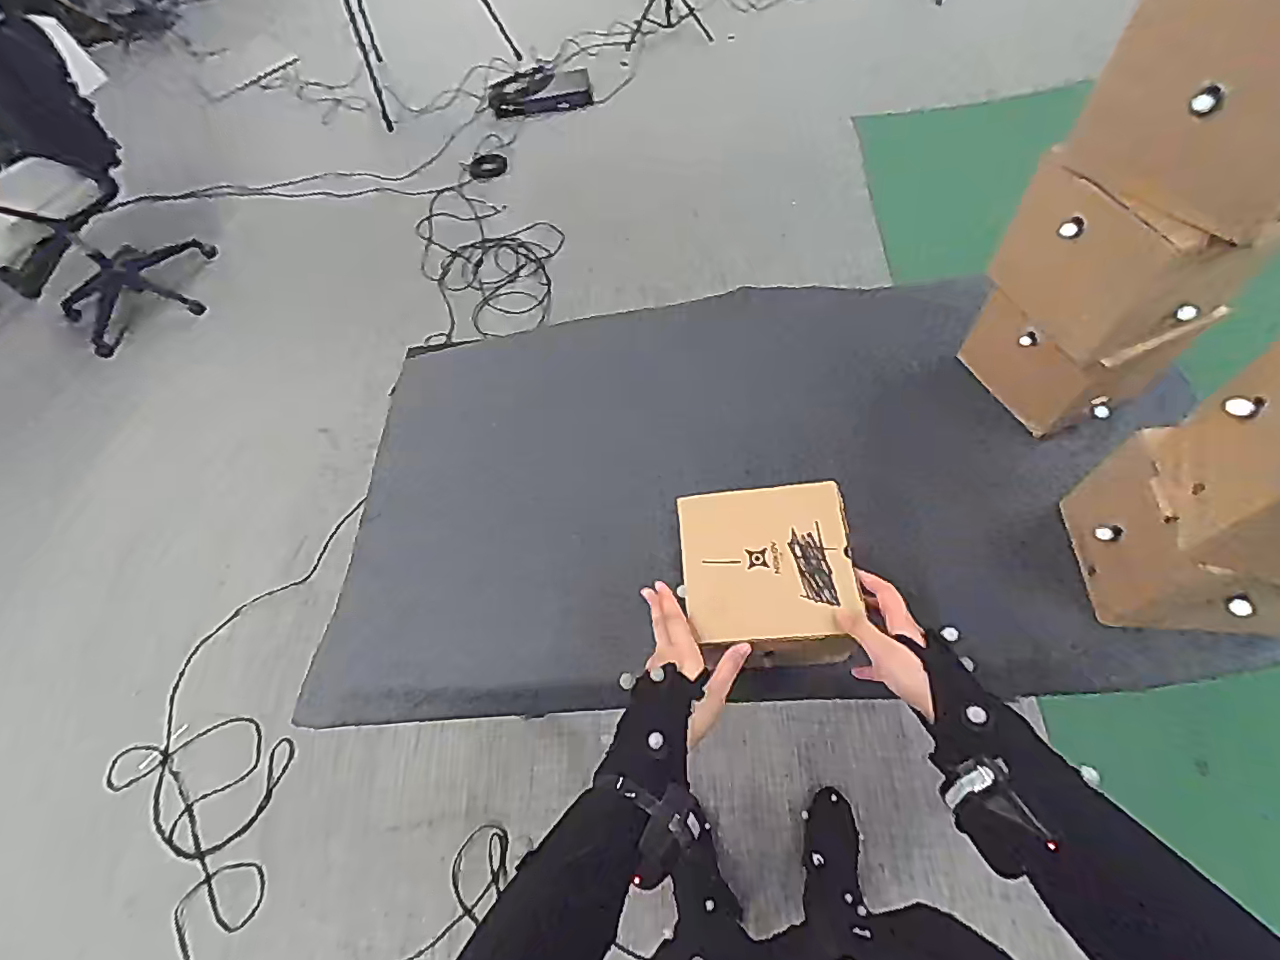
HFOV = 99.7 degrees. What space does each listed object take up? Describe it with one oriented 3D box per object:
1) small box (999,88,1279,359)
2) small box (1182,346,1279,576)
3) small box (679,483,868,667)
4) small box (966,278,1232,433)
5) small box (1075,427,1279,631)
[{"bbox_3d":[0.536,-0.266,0.581,0.168,0.176,0.179,-22,62,1],"label":"small box"},{"bbox_3d":[0.595,-0.011,0.434,0.179,0.176,0.168,20,65,19],"label":"small box"},{"bbox_3d":[0.144,0.119,0.629,0.179,0.176,0.168,-7,62,9],"label":"small box"},{"bbox_3d":[0.584,-0.195,0.723,0.168,0.176,0.179,-25,63,-1],"label":"small box"},{"bbox_3d":[0.615,0.058,0.582,0.179,0.176,0.168,0,60,10],"label":"small box"}]
